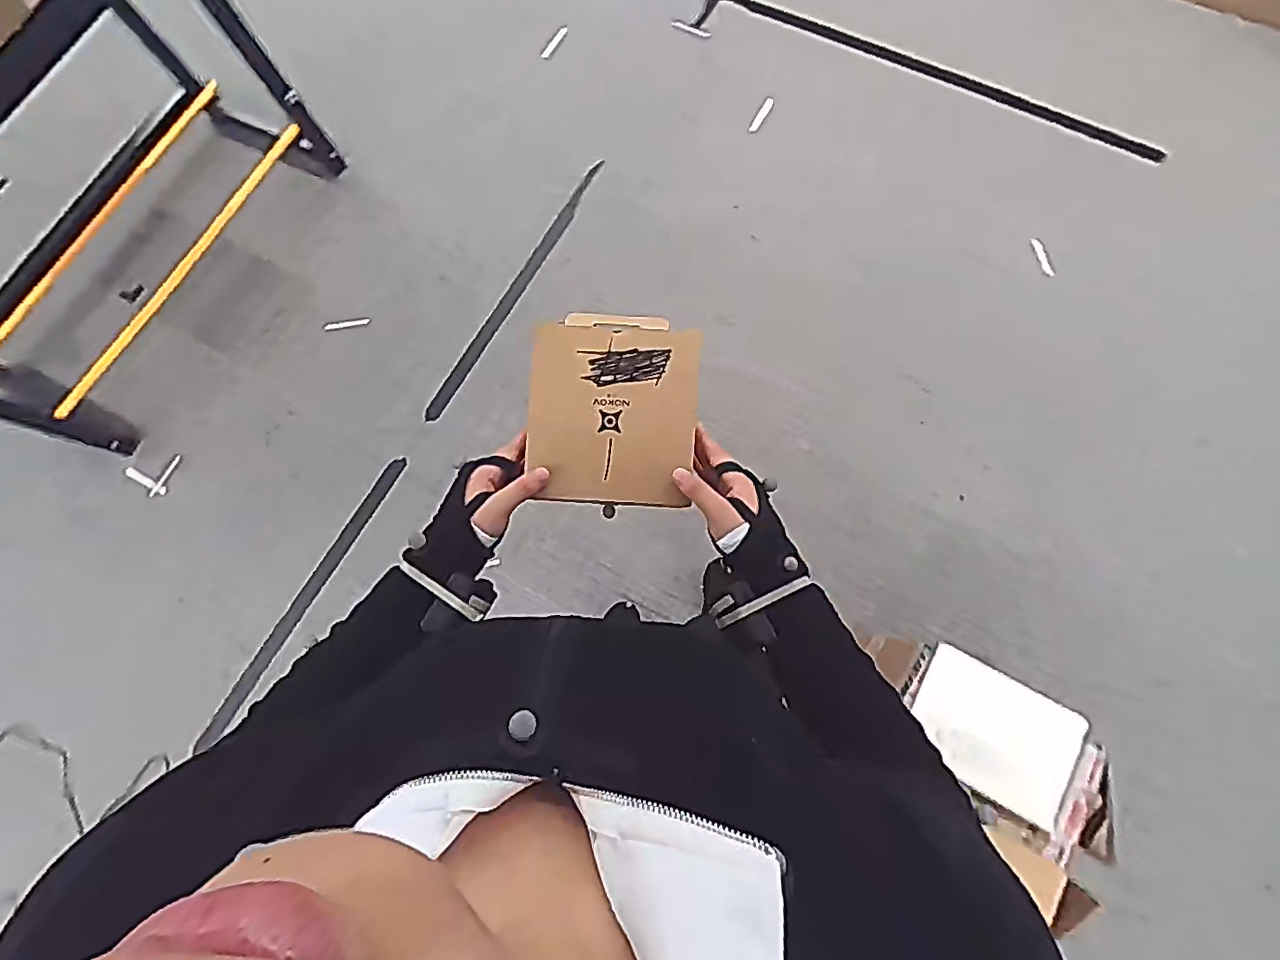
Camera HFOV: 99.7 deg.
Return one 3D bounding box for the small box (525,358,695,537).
[{"bbox_3d":[-0.029,-0.028,0.619,0.168,0.176,0.179,2,87,1],"label":"small box"}]
